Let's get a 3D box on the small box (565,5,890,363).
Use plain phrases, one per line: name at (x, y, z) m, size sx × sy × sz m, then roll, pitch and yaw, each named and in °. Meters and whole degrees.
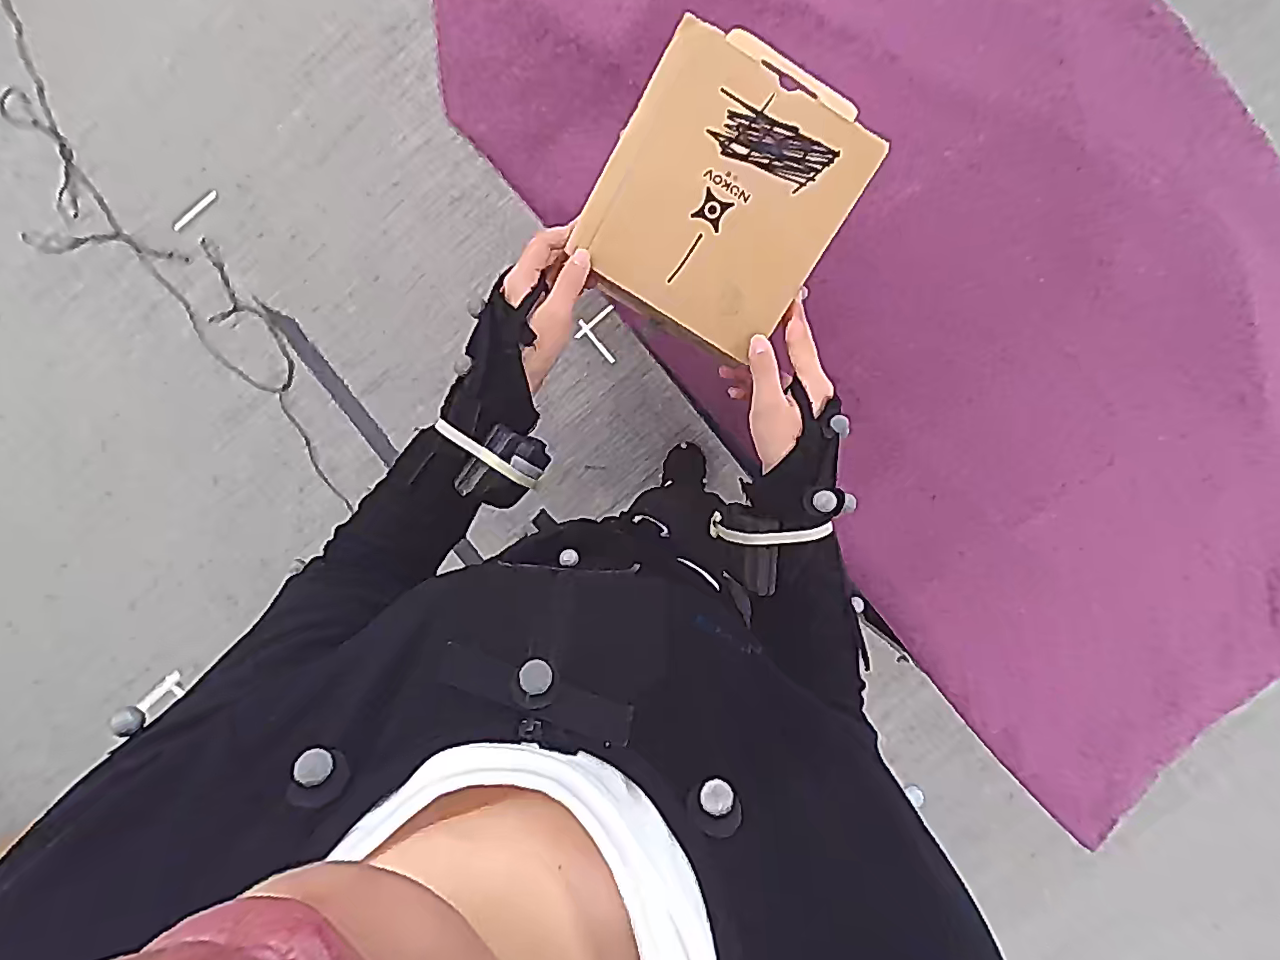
small box at (0.061, -0.215, 0.452) m, size 0.168 × 0.176 × 0.179 m, roll 31°, pitch 102°, yaw -3°
